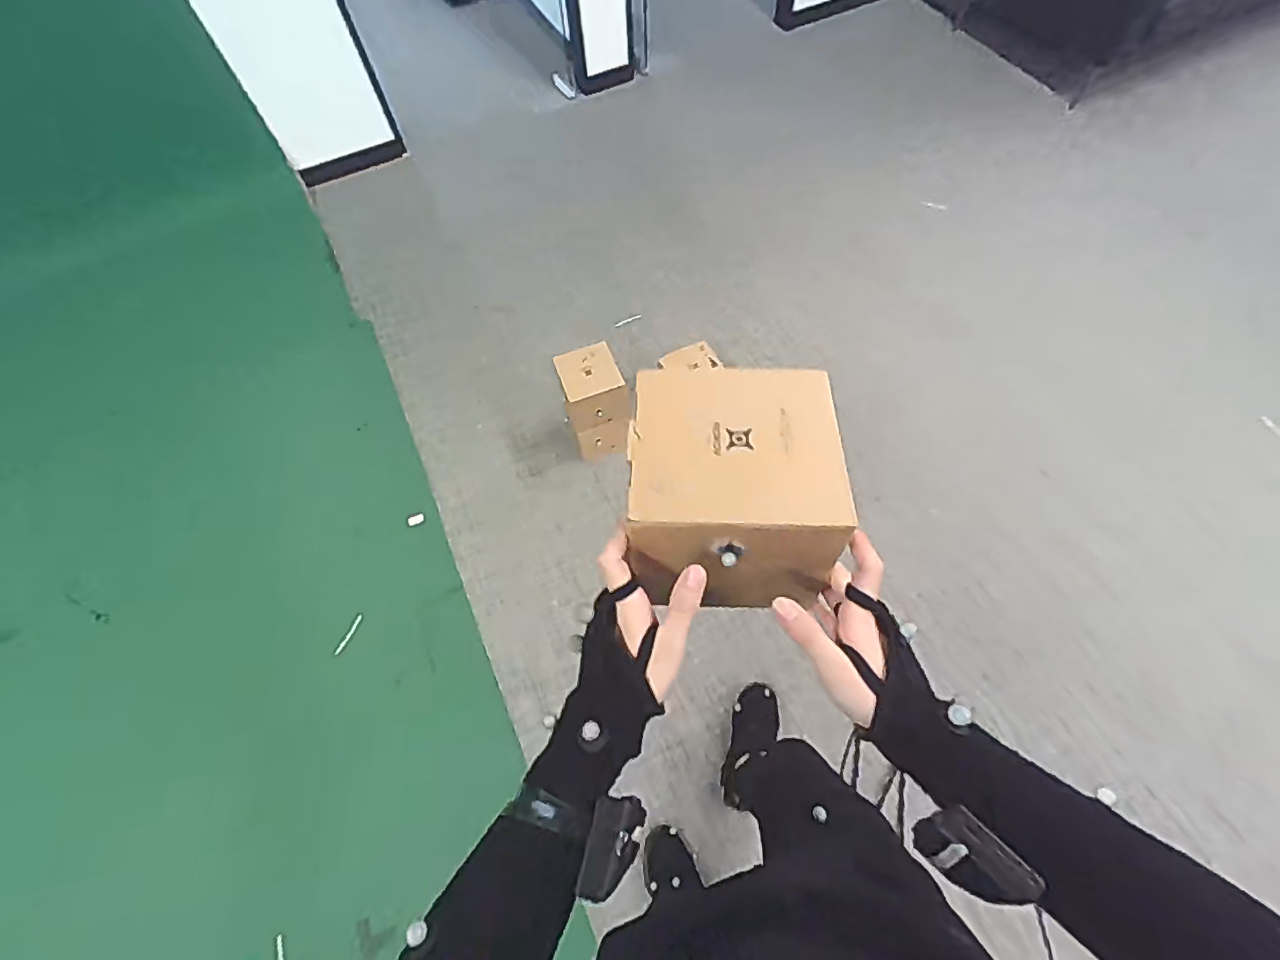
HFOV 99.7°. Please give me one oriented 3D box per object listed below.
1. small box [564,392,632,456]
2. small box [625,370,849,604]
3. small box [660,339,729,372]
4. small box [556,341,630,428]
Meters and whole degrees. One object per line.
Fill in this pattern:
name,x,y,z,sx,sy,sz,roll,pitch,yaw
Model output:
small box,-0.132,-0.199,1.759,0.168,0.176,0.179,-21,63,-8
small box,0.085,0.012,0.528,0.179,0.176,0.168,2,55,5
small box,0.182,-0.330,1.807,0.179,0.176,0.168,-25,65,-8
small box,-0.136,-0.276,1.613,0.168,0.176,0.179,-20,63,-7
